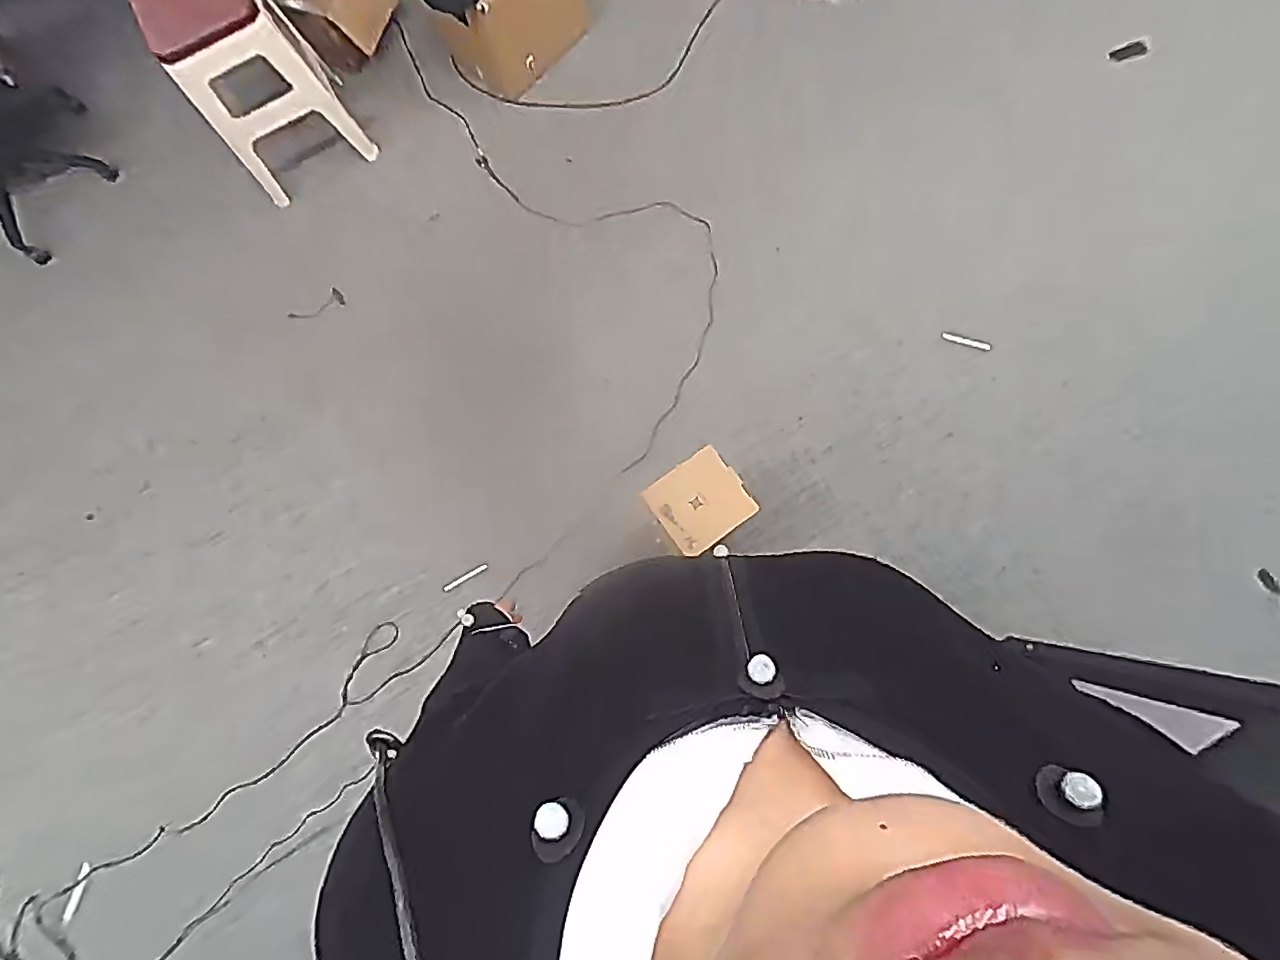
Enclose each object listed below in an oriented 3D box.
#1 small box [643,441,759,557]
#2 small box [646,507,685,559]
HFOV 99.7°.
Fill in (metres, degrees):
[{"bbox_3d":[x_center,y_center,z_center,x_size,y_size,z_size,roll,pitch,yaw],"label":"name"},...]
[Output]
[{"bbox_3d":[0.120,0.046,1.140,0.179,0.176,0.168,-36,80,-4],"label":"small box"},{"bbox_3d":[0.132,0.098,1.462,0.179,0.176,0.168,-35,80,-3],"label":"small box"}]
